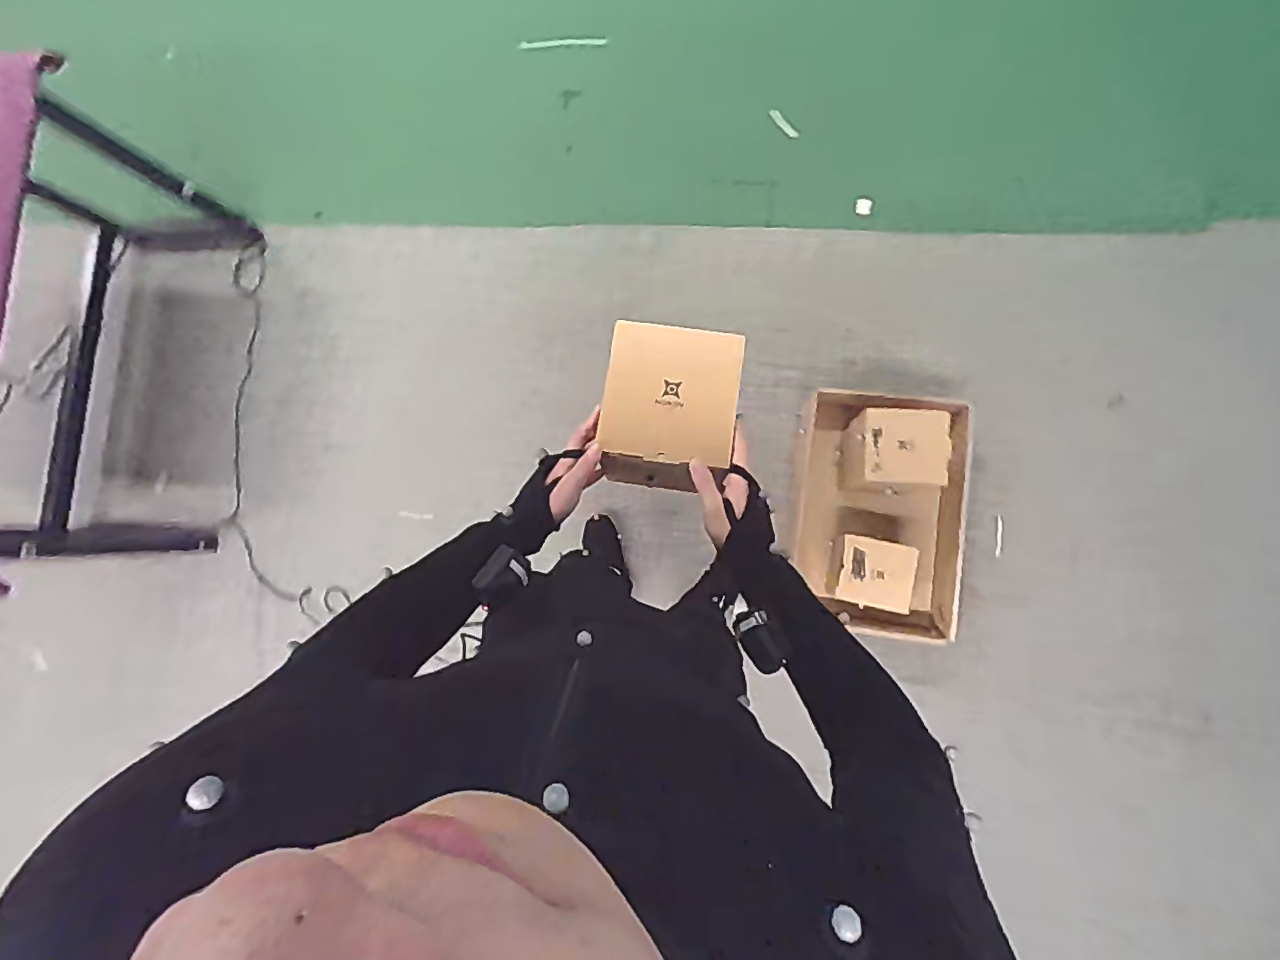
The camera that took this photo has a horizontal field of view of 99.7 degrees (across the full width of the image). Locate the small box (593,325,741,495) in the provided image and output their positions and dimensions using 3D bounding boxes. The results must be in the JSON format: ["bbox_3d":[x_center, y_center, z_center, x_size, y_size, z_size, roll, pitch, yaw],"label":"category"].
[{"bbox_3d":[0.035,-0.086,0.736,0.168,0.176,0.179,7,80,2],"label":"small box"}]

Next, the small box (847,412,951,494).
[{"bbox_3d":[0.603,-0.058,1.276,0.179,0.176,0.168,5,85,9],"label":"small box"}]
